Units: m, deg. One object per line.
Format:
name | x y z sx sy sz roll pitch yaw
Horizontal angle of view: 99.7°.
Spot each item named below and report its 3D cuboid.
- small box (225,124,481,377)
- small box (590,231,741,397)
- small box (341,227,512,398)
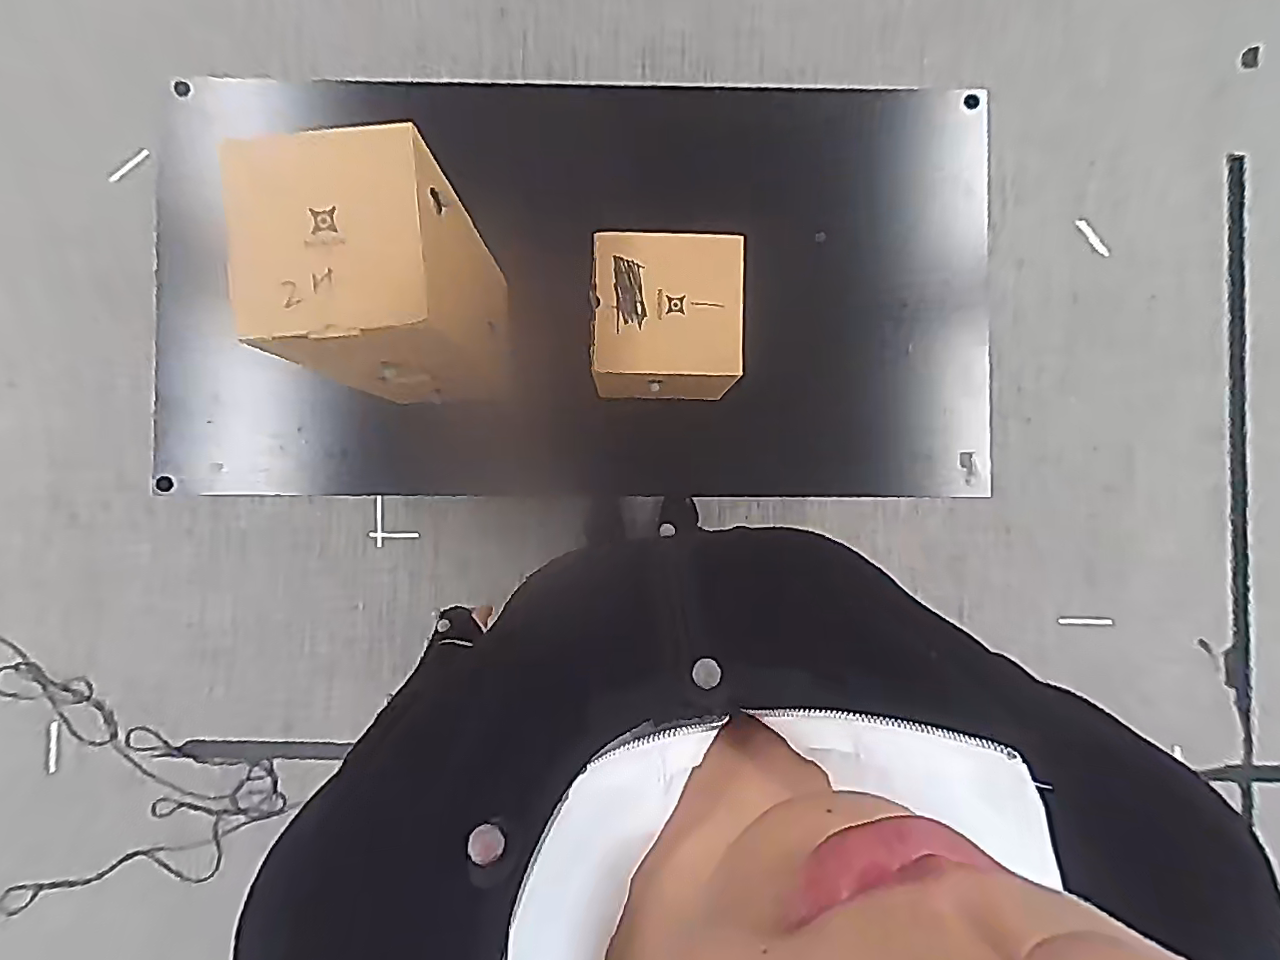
small box | -0.267 -0.212 0.541 0.168 0.176 0.179 -5 89 0
small box | 0.030 -0.205 0.709 0.179 0.176 0.168 1 89 -1
small box | -0.270 -0.205 0.706 0.168 0.176 0.179 -4 89 0
